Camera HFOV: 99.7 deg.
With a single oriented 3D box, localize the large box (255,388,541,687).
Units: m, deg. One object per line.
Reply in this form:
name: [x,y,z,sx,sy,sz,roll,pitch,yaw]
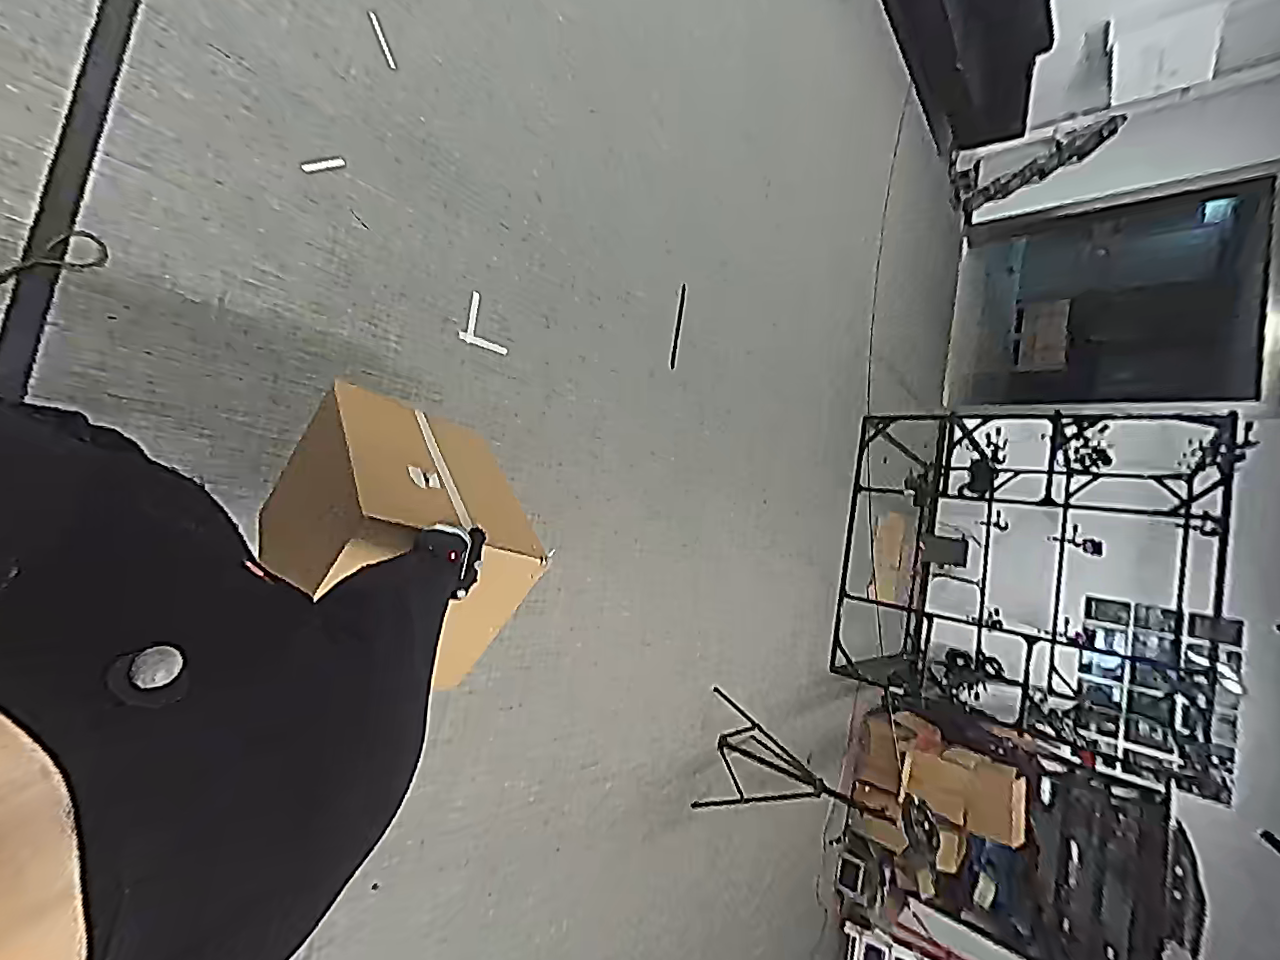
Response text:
large box: [-0.450,0.106,0.972,0.320,0.408,0.320,23,109,-45]
